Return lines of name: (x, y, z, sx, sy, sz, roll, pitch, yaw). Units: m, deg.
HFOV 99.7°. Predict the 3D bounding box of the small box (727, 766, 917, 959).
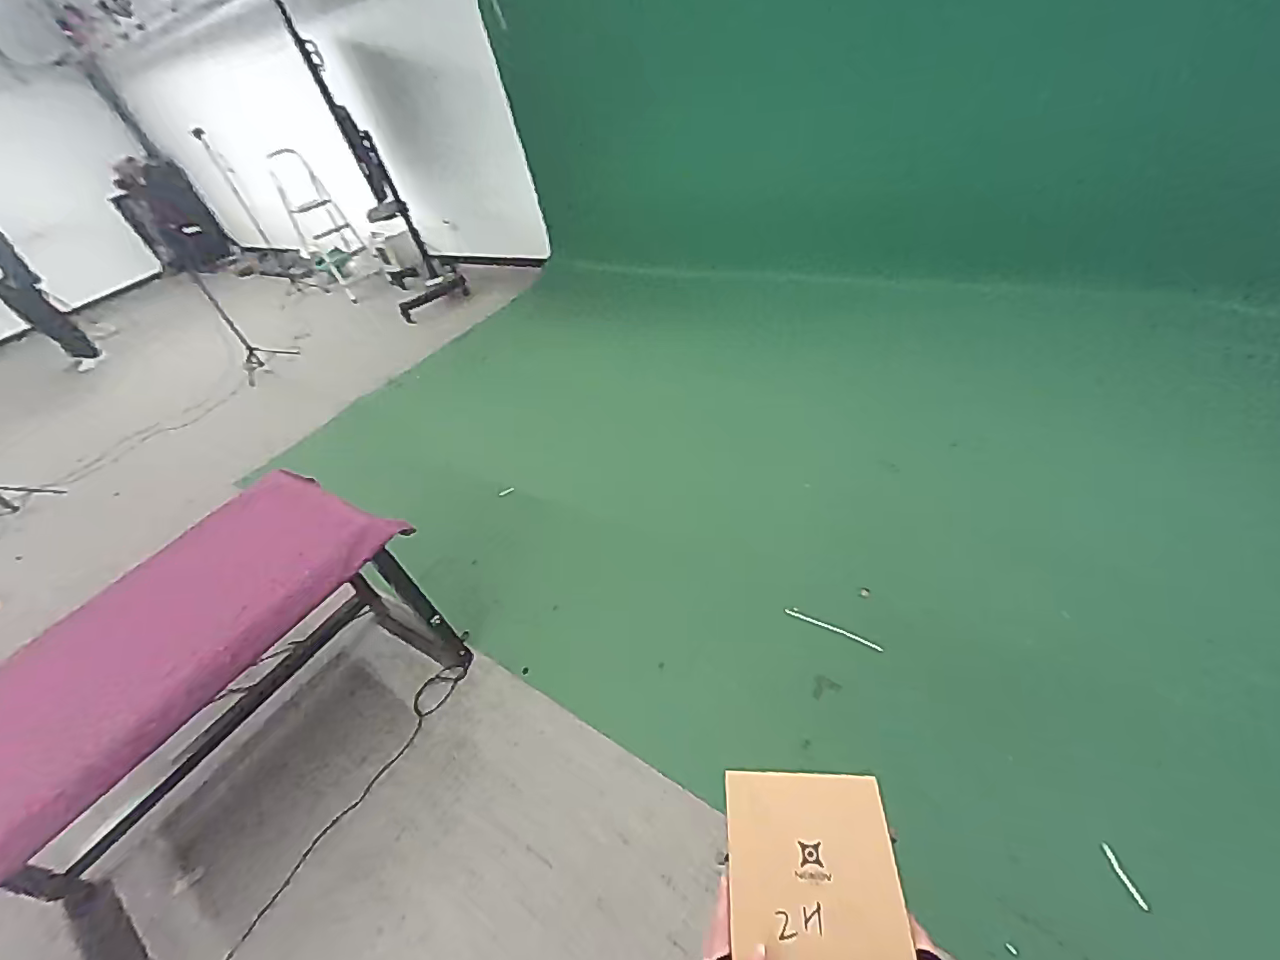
small box: (0.182, 0.444, 0.598, 0.168, 0.176, 0.179, -3, 42, 8)
